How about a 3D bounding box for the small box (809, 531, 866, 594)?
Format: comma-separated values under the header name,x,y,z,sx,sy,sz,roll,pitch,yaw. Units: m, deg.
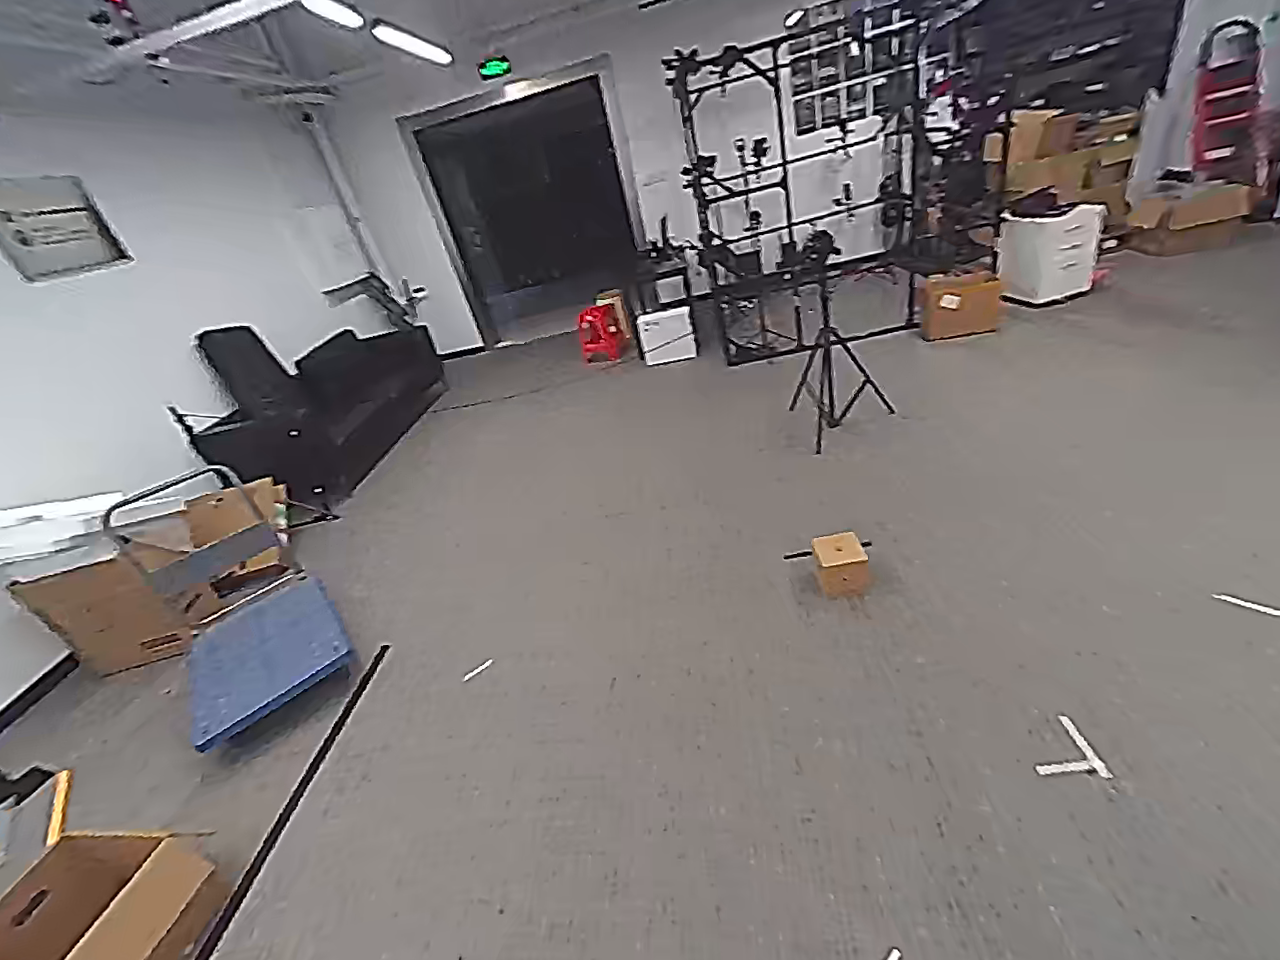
name,x,y,z,sx,sy,sz,roll,pitch,yaw
small box,0.763,0.325,2.090,0.168,0.176,0.179,-11,29,7
